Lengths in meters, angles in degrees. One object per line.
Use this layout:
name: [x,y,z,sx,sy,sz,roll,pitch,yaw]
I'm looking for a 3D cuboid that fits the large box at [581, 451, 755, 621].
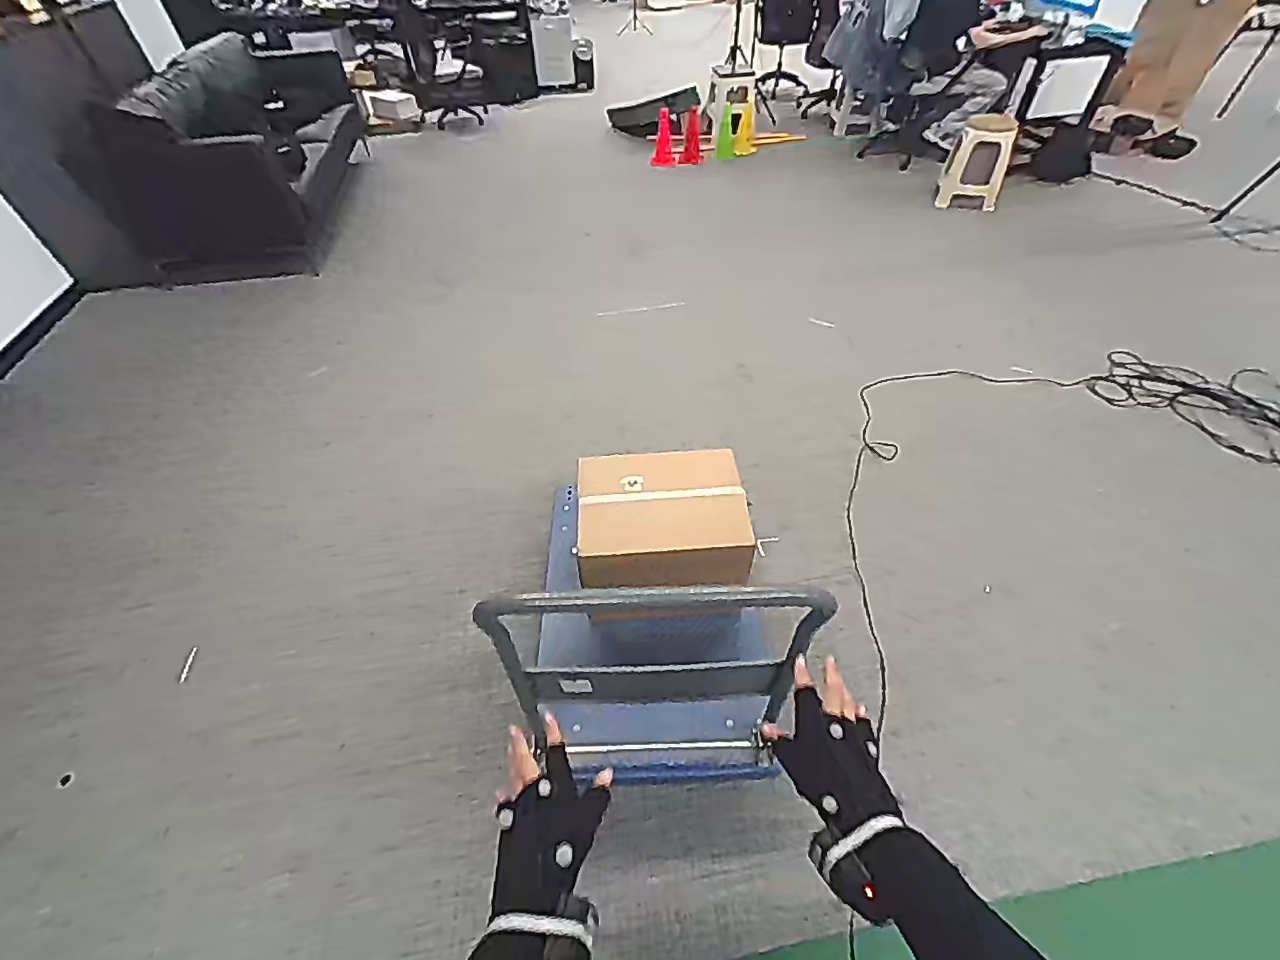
large box: [0.062,0.152,1.428,0.408,0.320,0.320,-4,46,-1]
